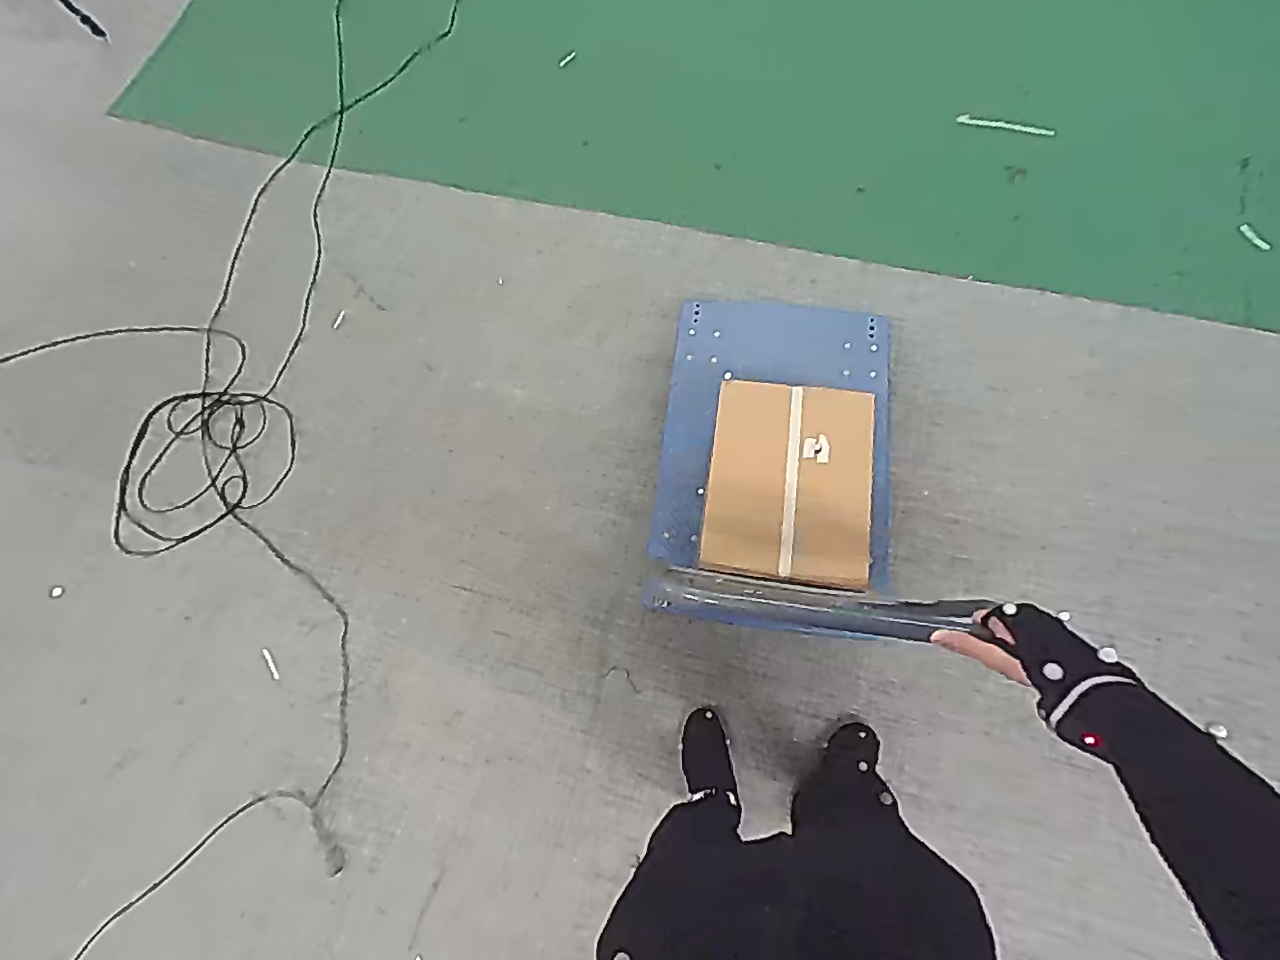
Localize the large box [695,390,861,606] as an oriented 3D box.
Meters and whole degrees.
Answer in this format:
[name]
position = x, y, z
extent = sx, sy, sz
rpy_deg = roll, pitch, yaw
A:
[large box]
position = 0.296, 0.056, 1.226
extent = 0.320, 0.320, 0.408
rpy_deg = 7, 72, 6
